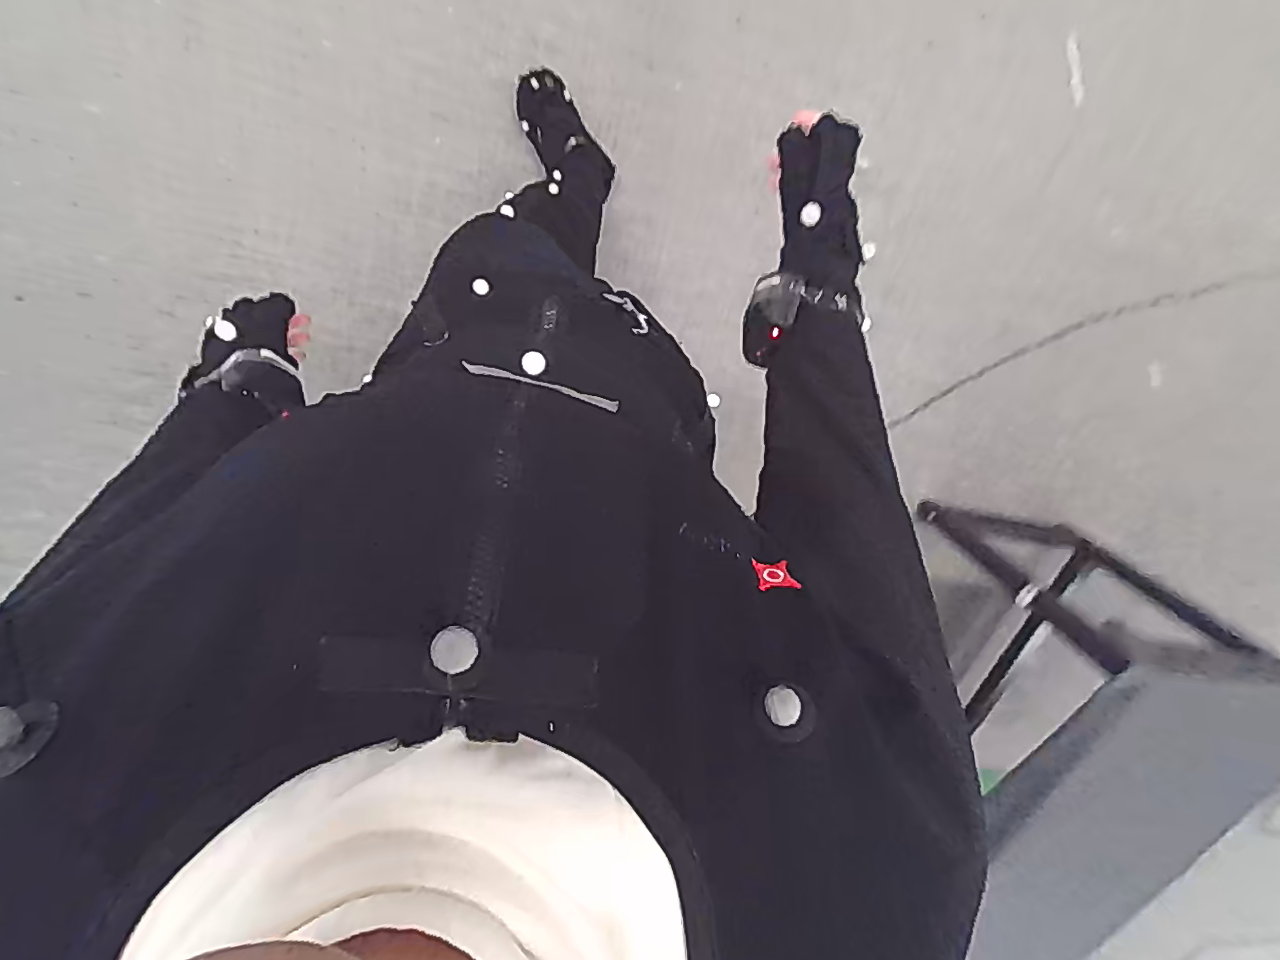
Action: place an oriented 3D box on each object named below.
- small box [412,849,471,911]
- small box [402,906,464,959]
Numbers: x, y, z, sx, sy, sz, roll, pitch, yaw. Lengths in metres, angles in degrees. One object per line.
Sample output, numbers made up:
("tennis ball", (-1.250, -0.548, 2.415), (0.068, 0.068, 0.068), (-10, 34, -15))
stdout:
("small box", (-0.670, 1.385, 1.825), (0.168, 0.176, 0.179), (11, 115, -15))
("small box", (-0.649, 1.461, 1.679), (0.168, 0.176, 0.179), (10, 115, -14))
